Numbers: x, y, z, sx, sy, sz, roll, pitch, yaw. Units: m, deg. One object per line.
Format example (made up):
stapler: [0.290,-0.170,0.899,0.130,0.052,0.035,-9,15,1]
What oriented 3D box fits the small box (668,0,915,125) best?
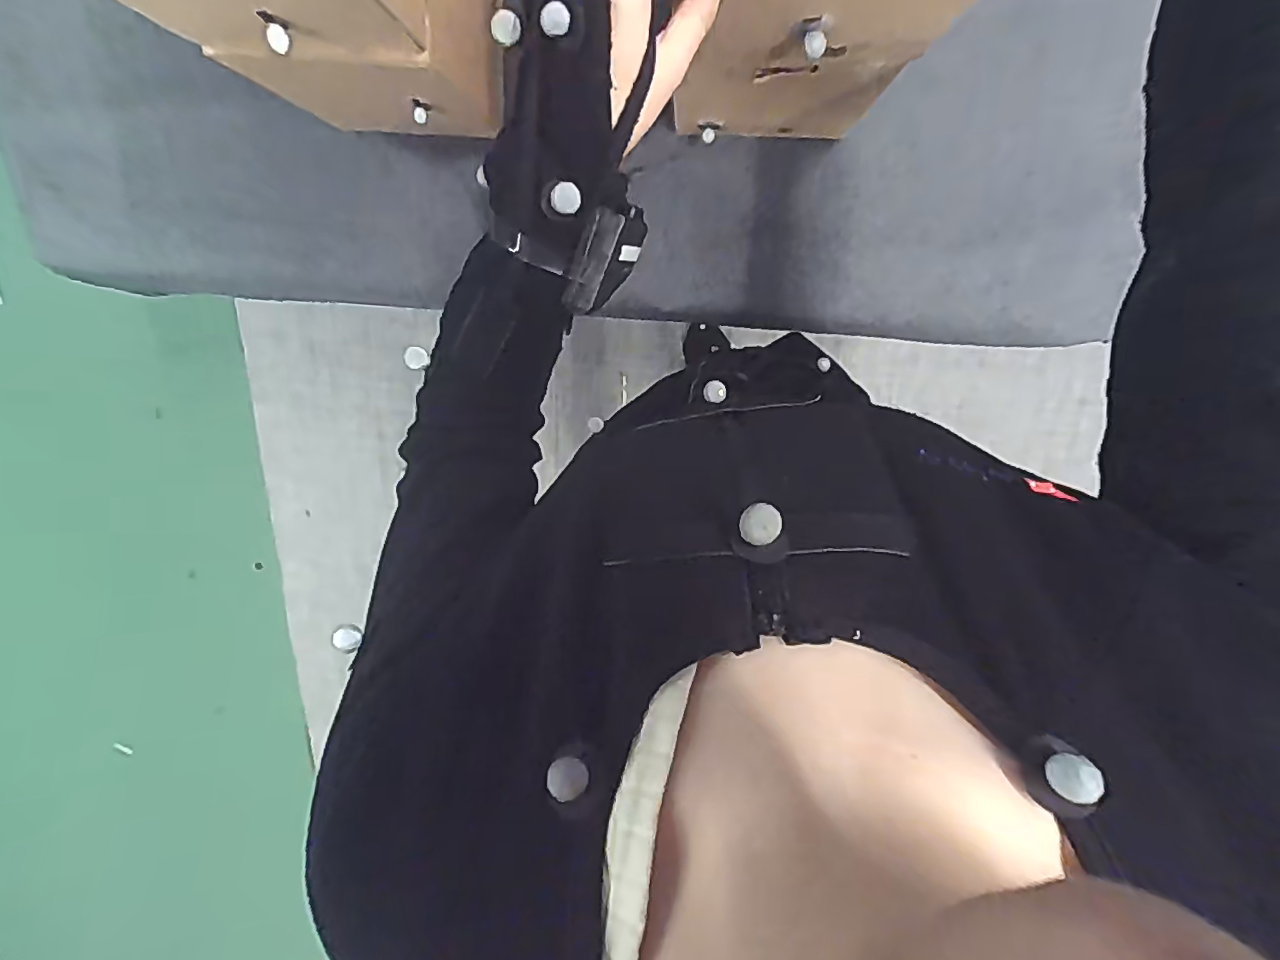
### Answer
small box: [0.112,-0.402,0.423,0.168,0.176,0.179,3,106,4]

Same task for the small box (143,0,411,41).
small box: [-0.239,-0.373,0.290,0.179,0.176,0.168,3,106,4]

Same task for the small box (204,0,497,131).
small box: [-0.225,-0.412,0.449,0.179,0.176,0.168,4,106,4]
